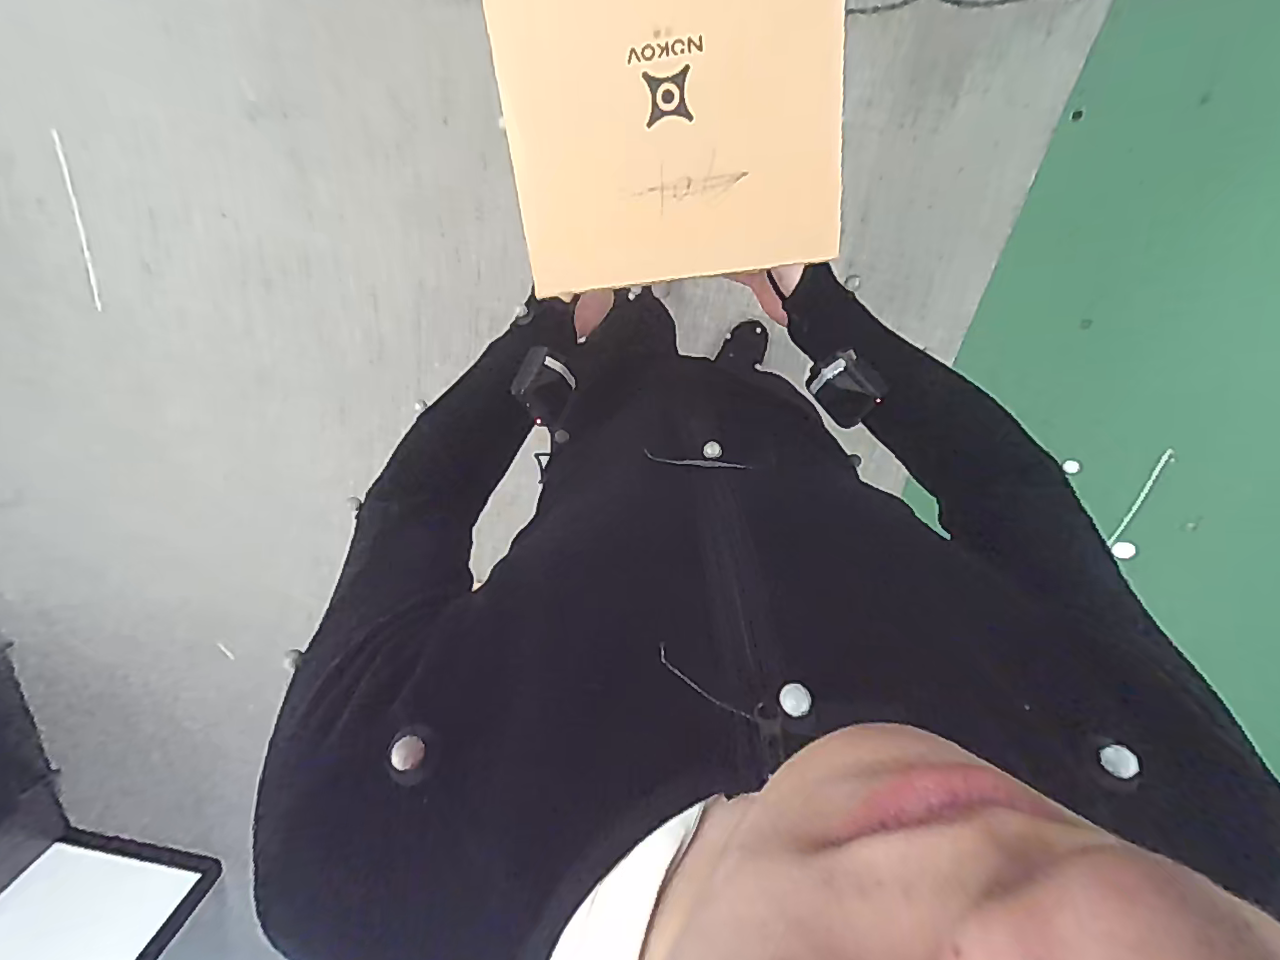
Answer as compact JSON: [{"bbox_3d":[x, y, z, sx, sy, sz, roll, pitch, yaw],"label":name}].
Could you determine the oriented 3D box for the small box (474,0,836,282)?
[{"bbox_3d":[0.014,-0.223,0.327,0.168,0.176,0.179,-4,113,8],"label":"small box"}]
